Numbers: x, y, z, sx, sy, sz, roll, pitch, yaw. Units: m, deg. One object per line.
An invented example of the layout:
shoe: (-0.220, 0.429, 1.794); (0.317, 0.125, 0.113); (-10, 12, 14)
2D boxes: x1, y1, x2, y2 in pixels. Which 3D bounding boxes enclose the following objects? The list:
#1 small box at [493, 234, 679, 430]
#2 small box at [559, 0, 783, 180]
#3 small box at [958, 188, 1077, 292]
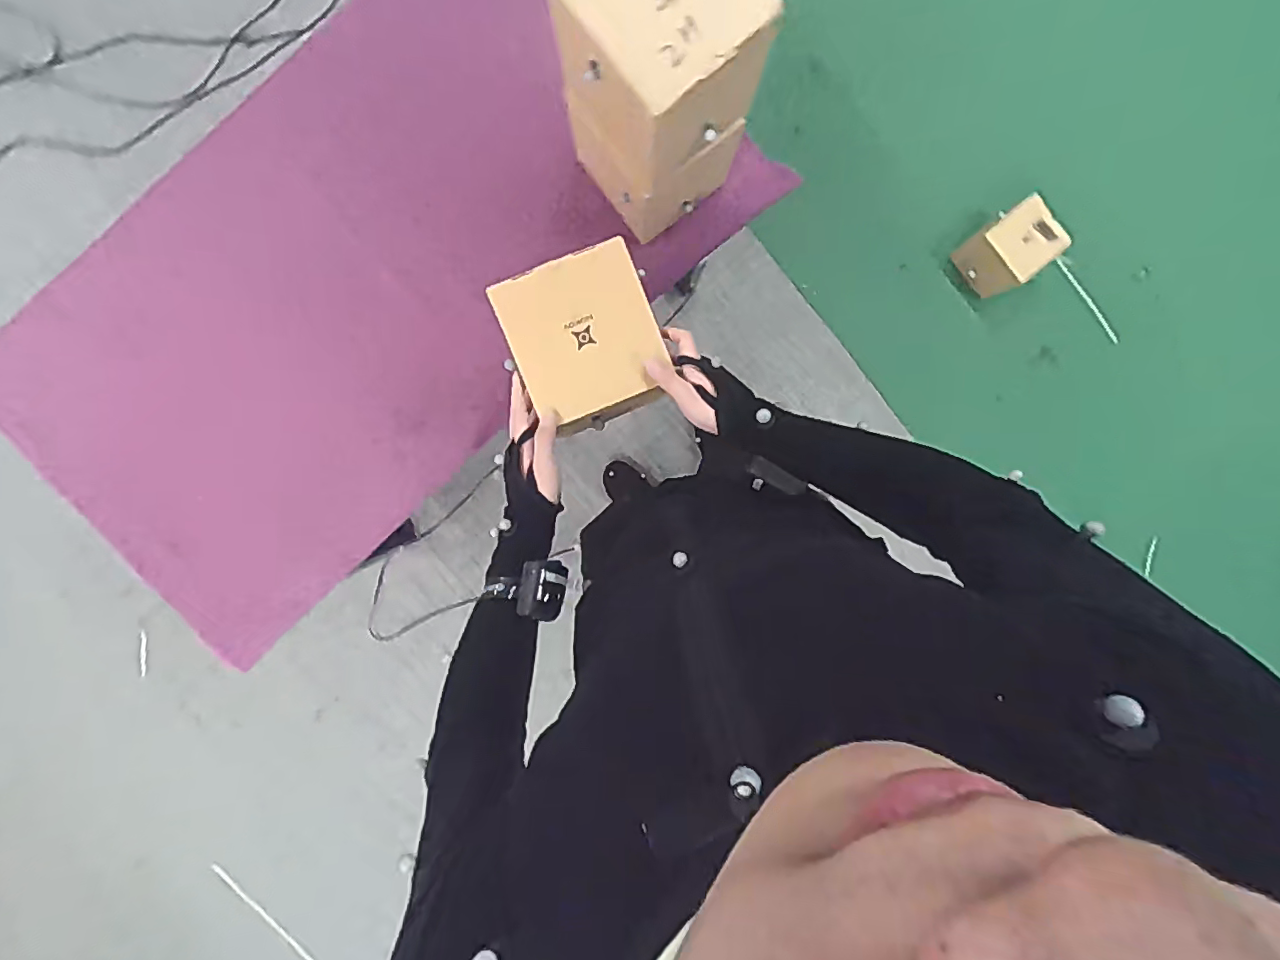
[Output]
small box: (-0.060, -0.169, 0.684); (0.168, 0.176, 0.179); (-21, 91, -1)
small box: (0.025, -0.486, 0.605); (0.168, 0.176, 0.179); (-39, 94, 3)
small box: (1.038, -0.659, 1.503); (0.179, 0.176, 0.168); (-41, 93, 3)
